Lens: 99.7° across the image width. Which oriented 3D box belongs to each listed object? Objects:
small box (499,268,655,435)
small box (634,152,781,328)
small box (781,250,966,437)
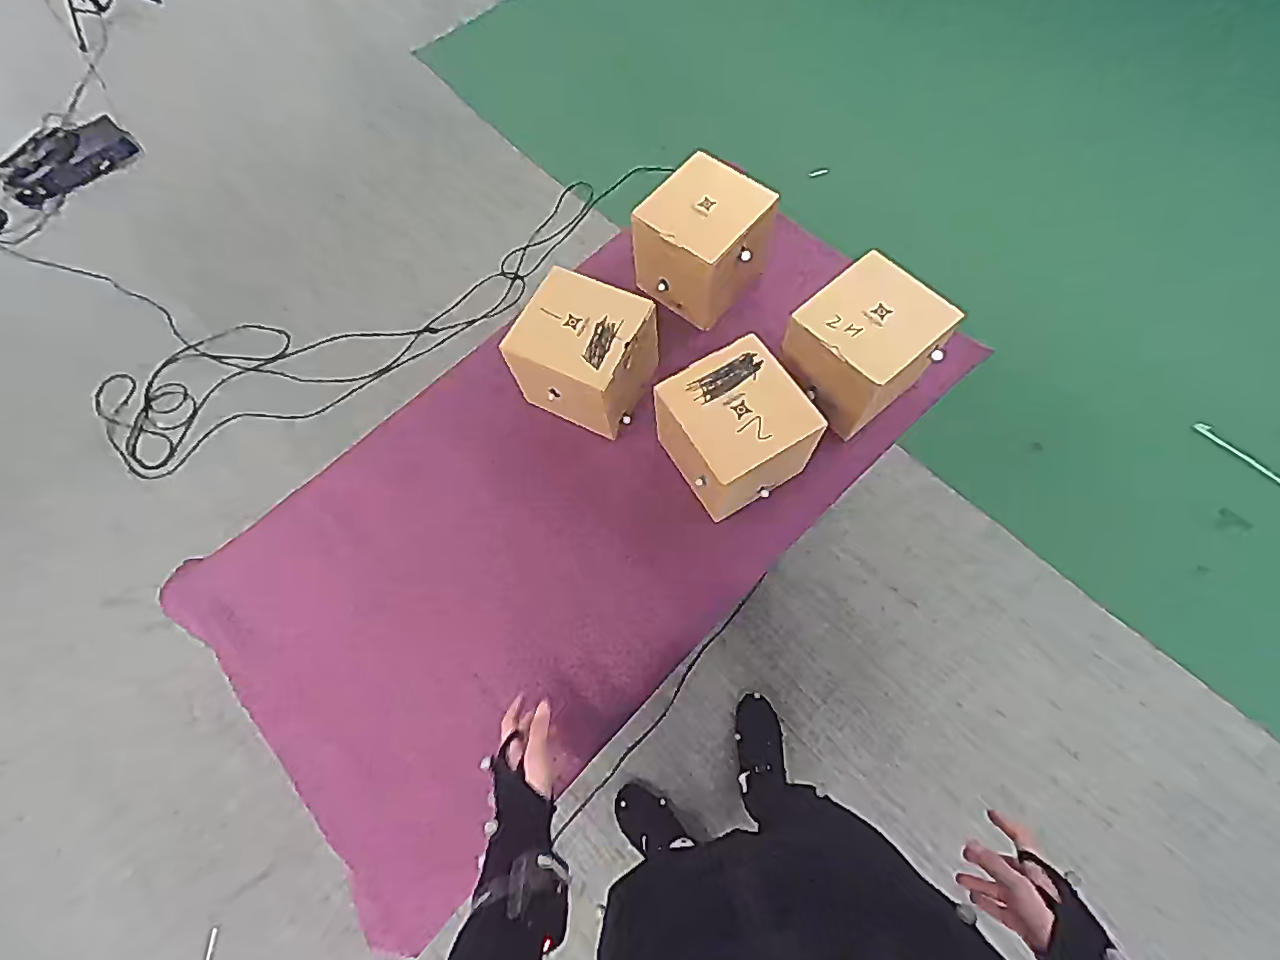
[{"bbox_3d":[-0.086,-0.192,0.855,0.179,0.176,0.168,25,73,12],"label":"small box"},{"bbox_3d":[0.108,-0.399,0.917,0.168,0.176,0.179,38,78,16],"label":"small box"},{"bbox_3d":[0.337,-0.199,0.821,0.179,0.176,0.168,-39,70,-9],"label":"small box"}]
